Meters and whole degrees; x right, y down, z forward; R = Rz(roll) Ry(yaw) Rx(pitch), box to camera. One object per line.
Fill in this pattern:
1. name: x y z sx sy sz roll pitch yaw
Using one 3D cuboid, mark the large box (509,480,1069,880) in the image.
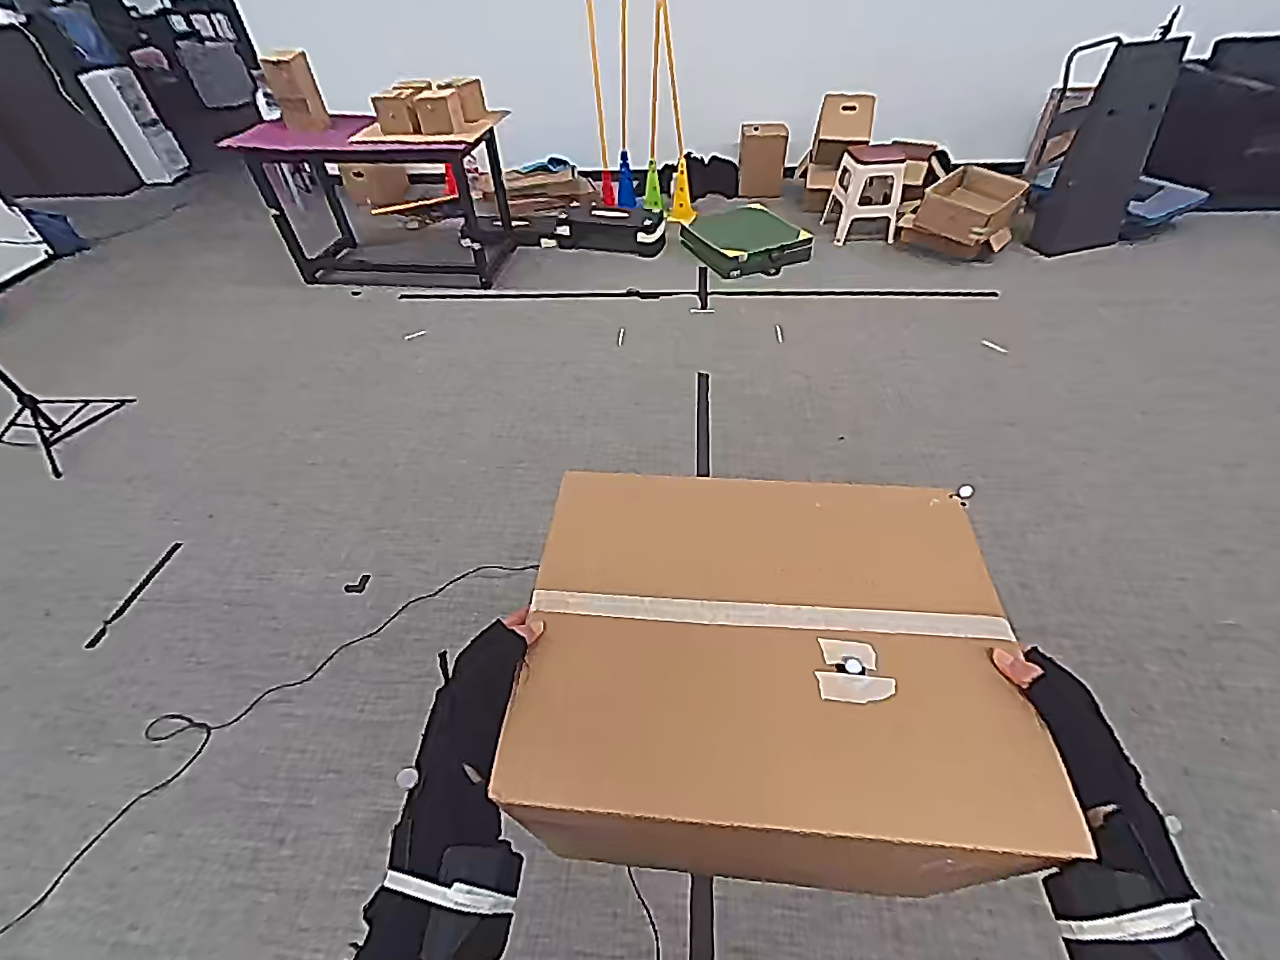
1. large box: 0.113 0.219 0.590 0.408 0.320 0.320 3 50 5
